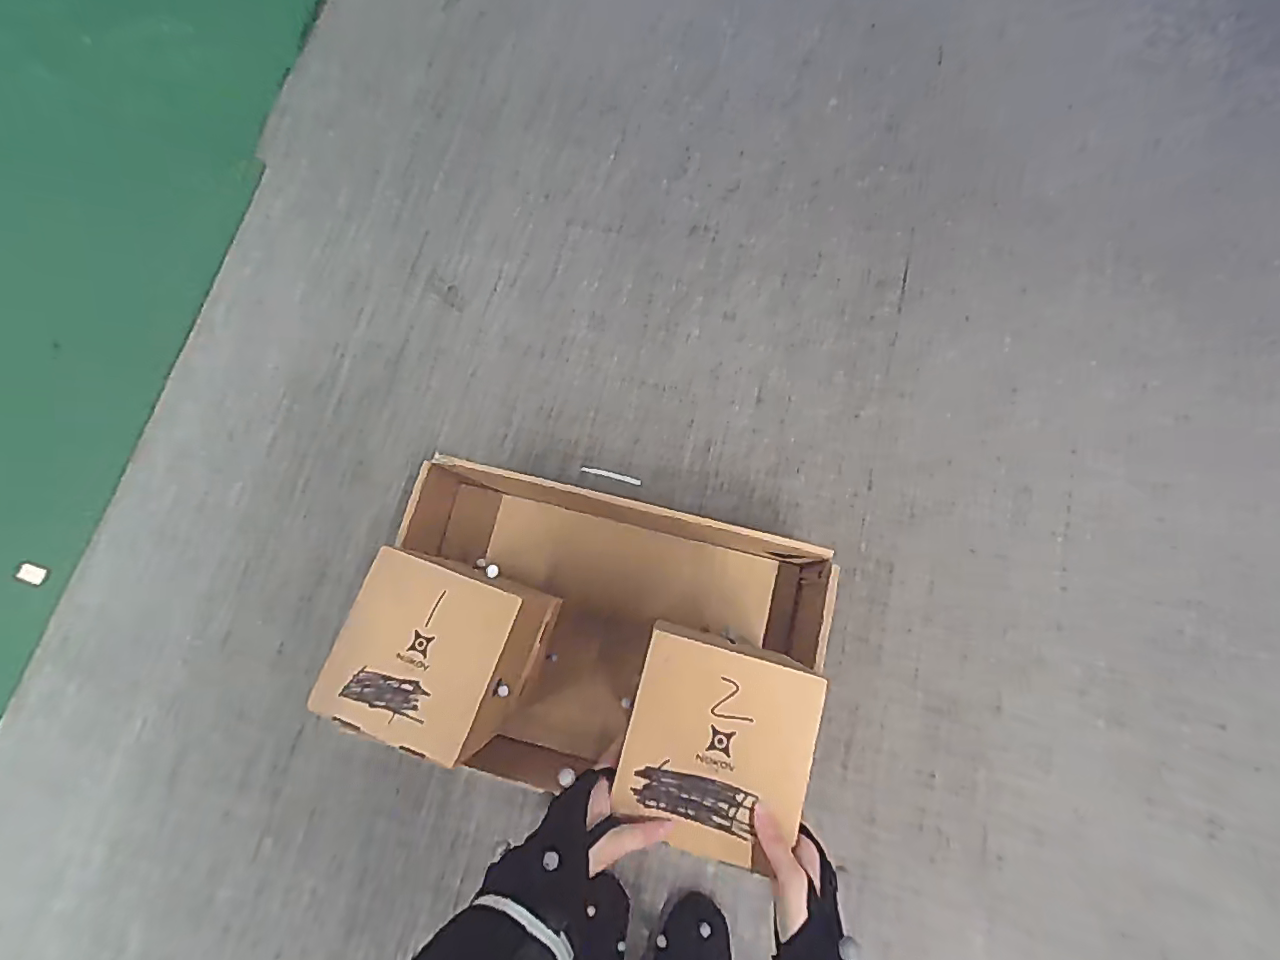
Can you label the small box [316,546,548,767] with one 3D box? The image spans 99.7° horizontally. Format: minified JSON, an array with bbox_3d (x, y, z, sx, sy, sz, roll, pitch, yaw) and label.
[{"bbox_3d":[-0.220,0.194,0.630,0.168,0.176,0.179,20,77,5],"label":"small box"}]
